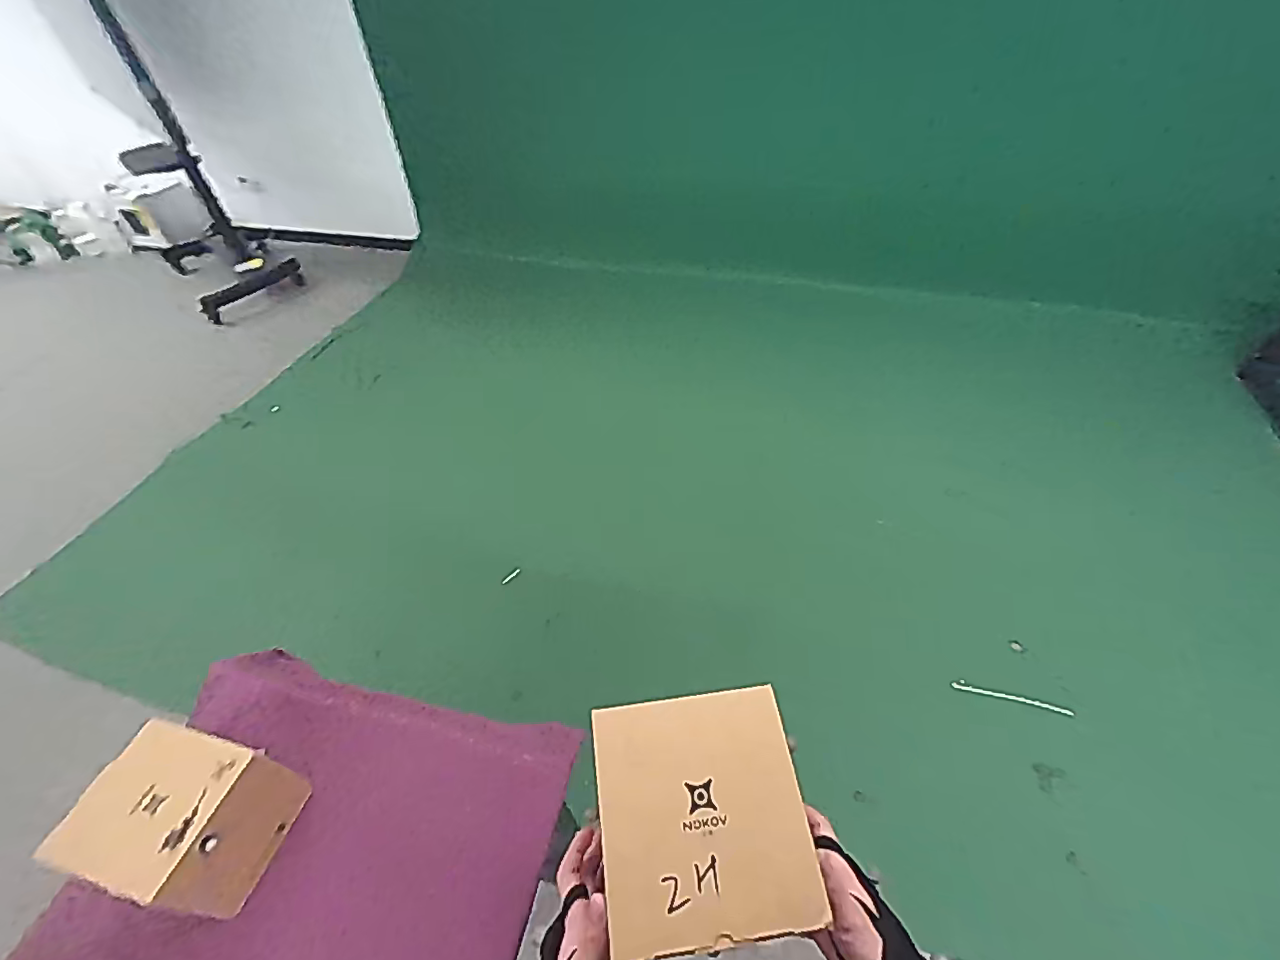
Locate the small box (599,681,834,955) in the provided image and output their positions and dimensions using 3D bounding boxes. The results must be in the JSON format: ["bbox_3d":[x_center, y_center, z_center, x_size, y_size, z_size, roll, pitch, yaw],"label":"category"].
[{"bbox_3d":[0.053,0.306,0.501,0.168,0.176,0.179,-7,55,-2],"label":"small box"}]

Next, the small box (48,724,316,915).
[{"bbox_3d":[-0.593,0.458,0.728,0.179,0.176,0.168,9,49,13],"label":"small box"}]
